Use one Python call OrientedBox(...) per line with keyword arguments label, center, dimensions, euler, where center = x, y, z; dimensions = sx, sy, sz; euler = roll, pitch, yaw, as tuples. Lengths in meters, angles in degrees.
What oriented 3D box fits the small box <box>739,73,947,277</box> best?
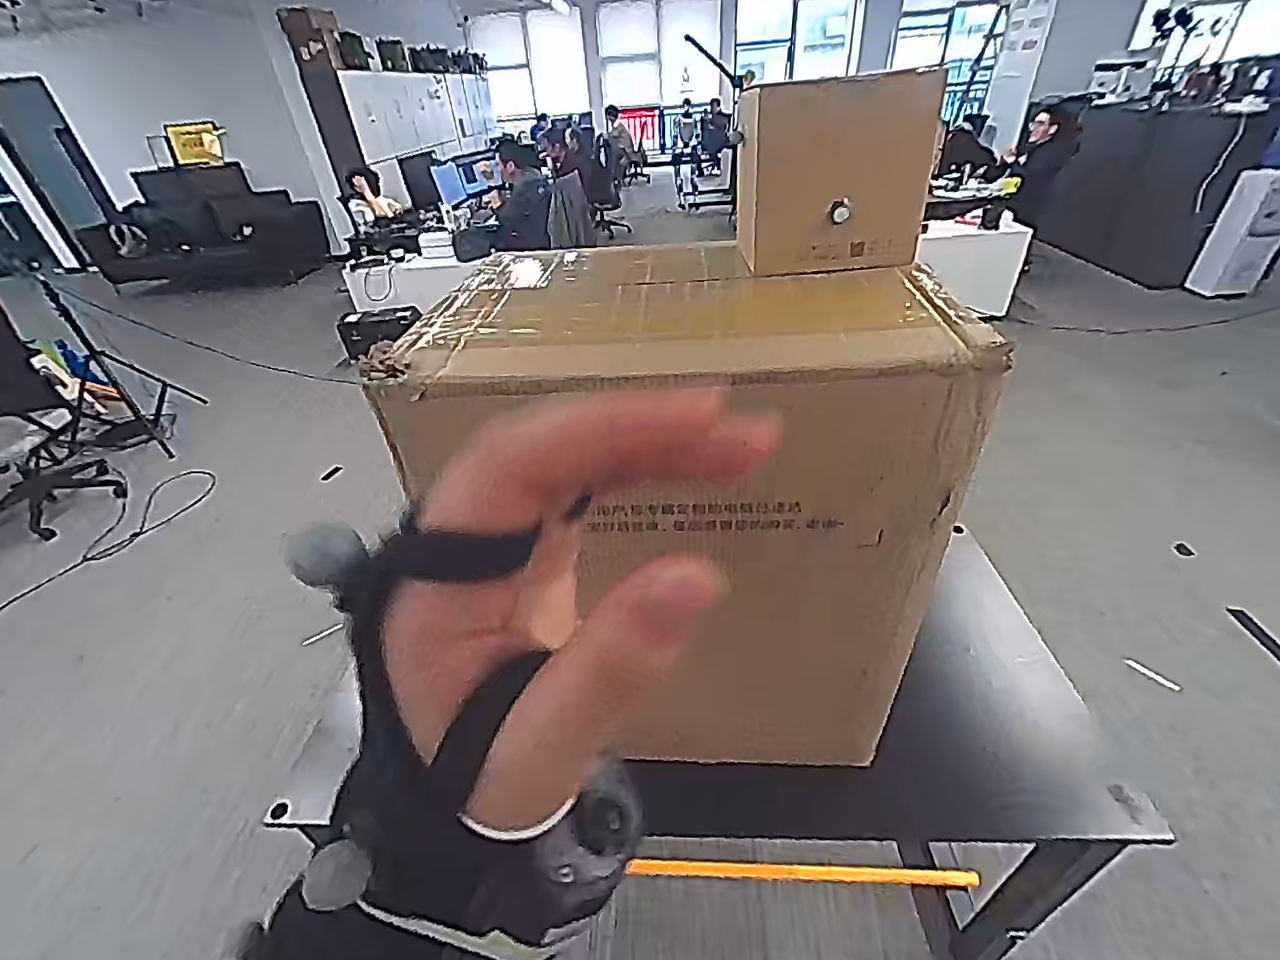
OrientedBox(label="small box", center=(0.199, -0.329, 0.592), dimensions=(0.168, 0.176, 0.179), euler=(-3, 34, 5))
